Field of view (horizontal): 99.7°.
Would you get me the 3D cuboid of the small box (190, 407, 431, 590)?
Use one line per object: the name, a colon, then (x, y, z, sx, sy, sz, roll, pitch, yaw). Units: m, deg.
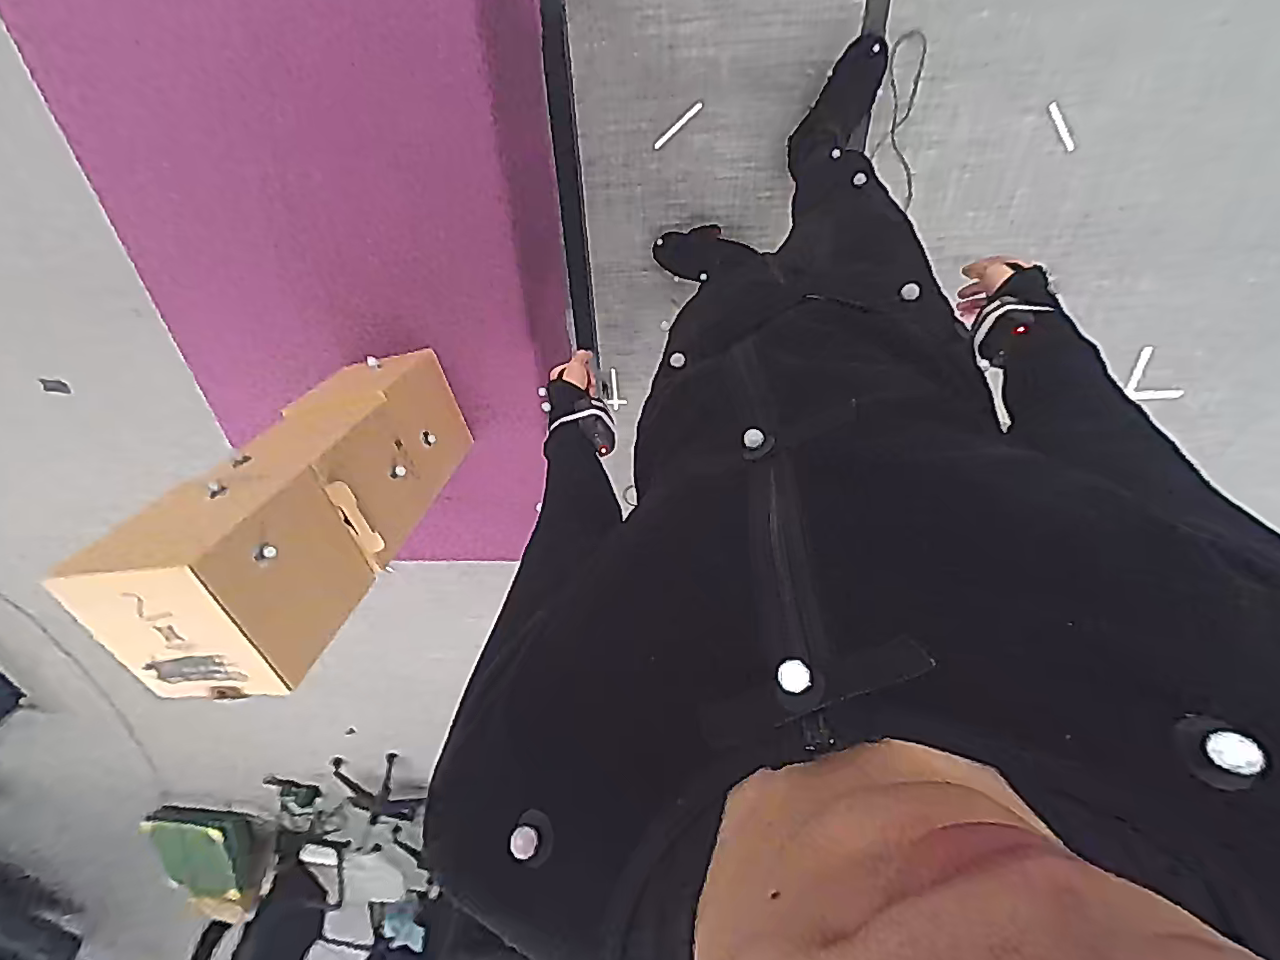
small box: (-0.416, 0.022, 0.719, 0.179, 0.176, 0.168, -10, 122, 12)

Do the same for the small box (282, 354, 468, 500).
small box: (-0.397, -0.076, 0.850, 0.168, 0.176, 0.179, -9, 121, 11)
